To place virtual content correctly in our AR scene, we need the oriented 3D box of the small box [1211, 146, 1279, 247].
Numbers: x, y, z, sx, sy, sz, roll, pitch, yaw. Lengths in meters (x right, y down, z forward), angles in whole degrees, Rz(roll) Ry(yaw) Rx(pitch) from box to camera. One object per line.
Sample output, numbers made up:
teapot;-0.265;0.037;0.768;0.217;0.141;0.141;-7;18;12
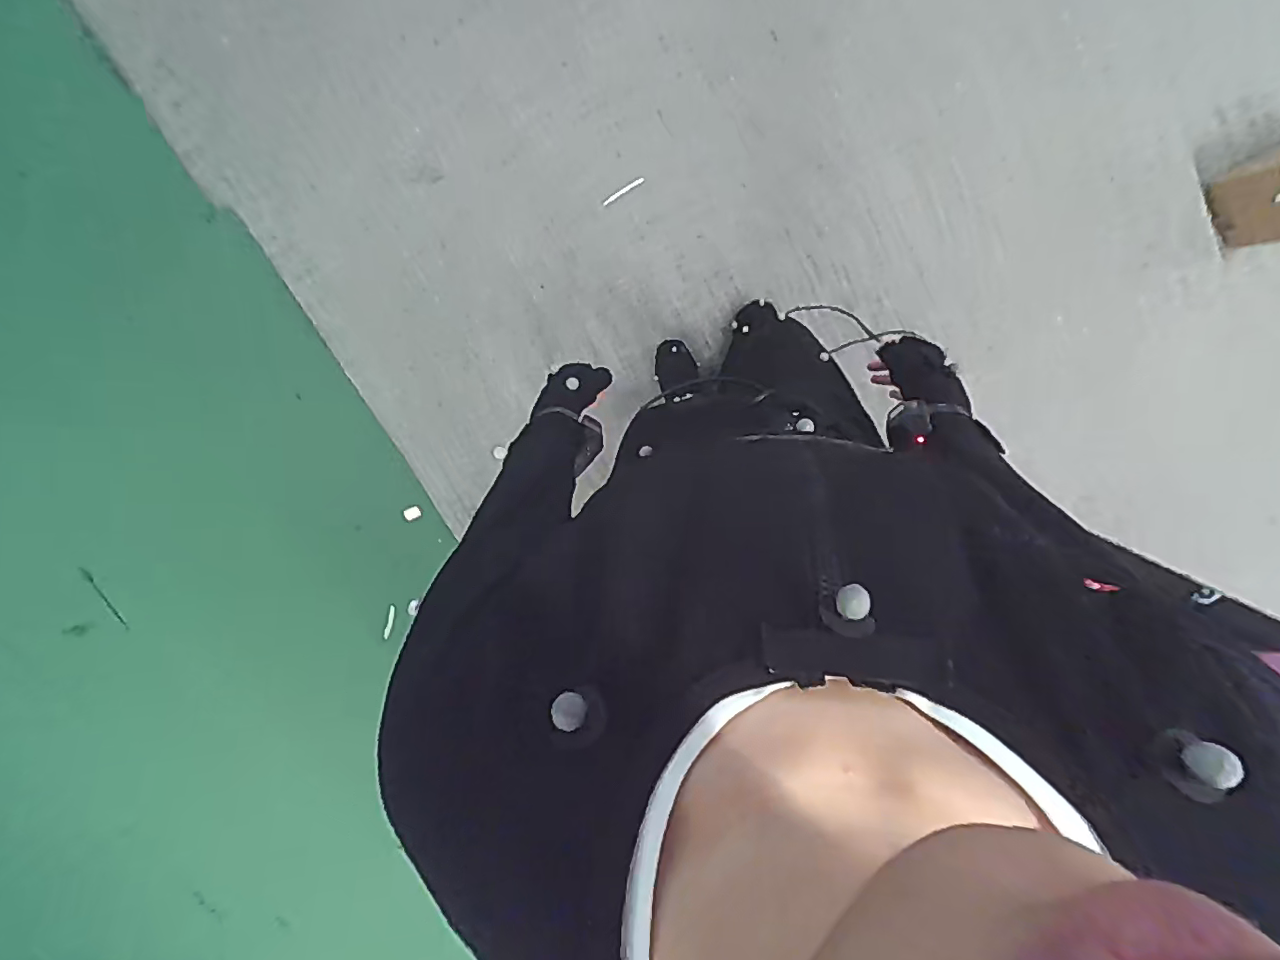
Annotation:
small box;1.399;-0.624;1.147;0.179;0.176;0.168;-29;101;10
